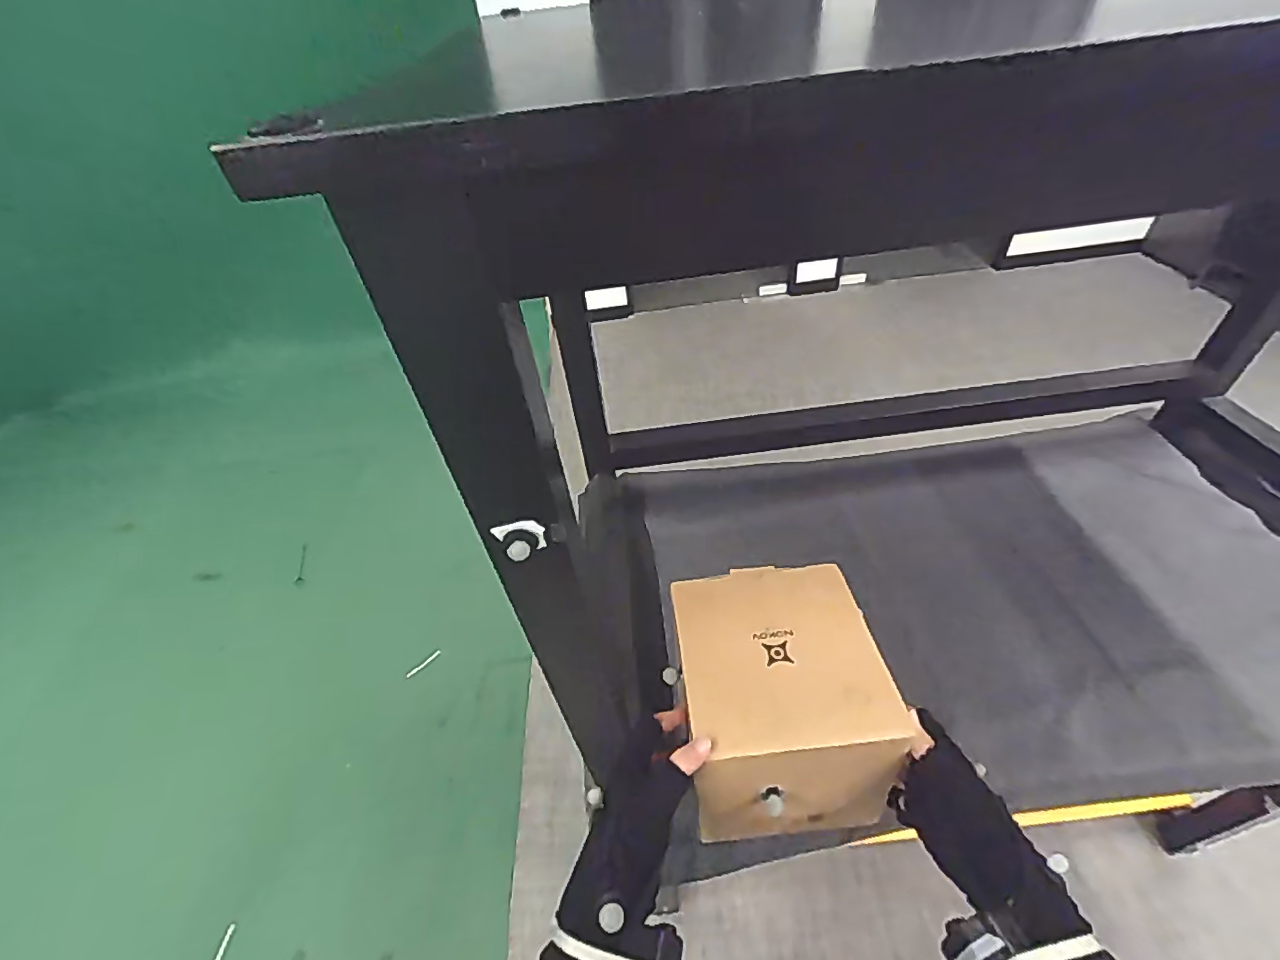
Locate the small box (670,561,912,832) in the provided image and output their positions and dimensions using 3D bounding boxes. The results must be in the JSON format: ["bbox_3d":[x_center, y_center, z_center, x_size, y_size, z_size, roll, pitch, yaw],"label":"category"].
[{"bbox_3d":[0.124,0.204,0.508,0.168,0.176,0.179,-7,36,0],"label":"small box"}]
